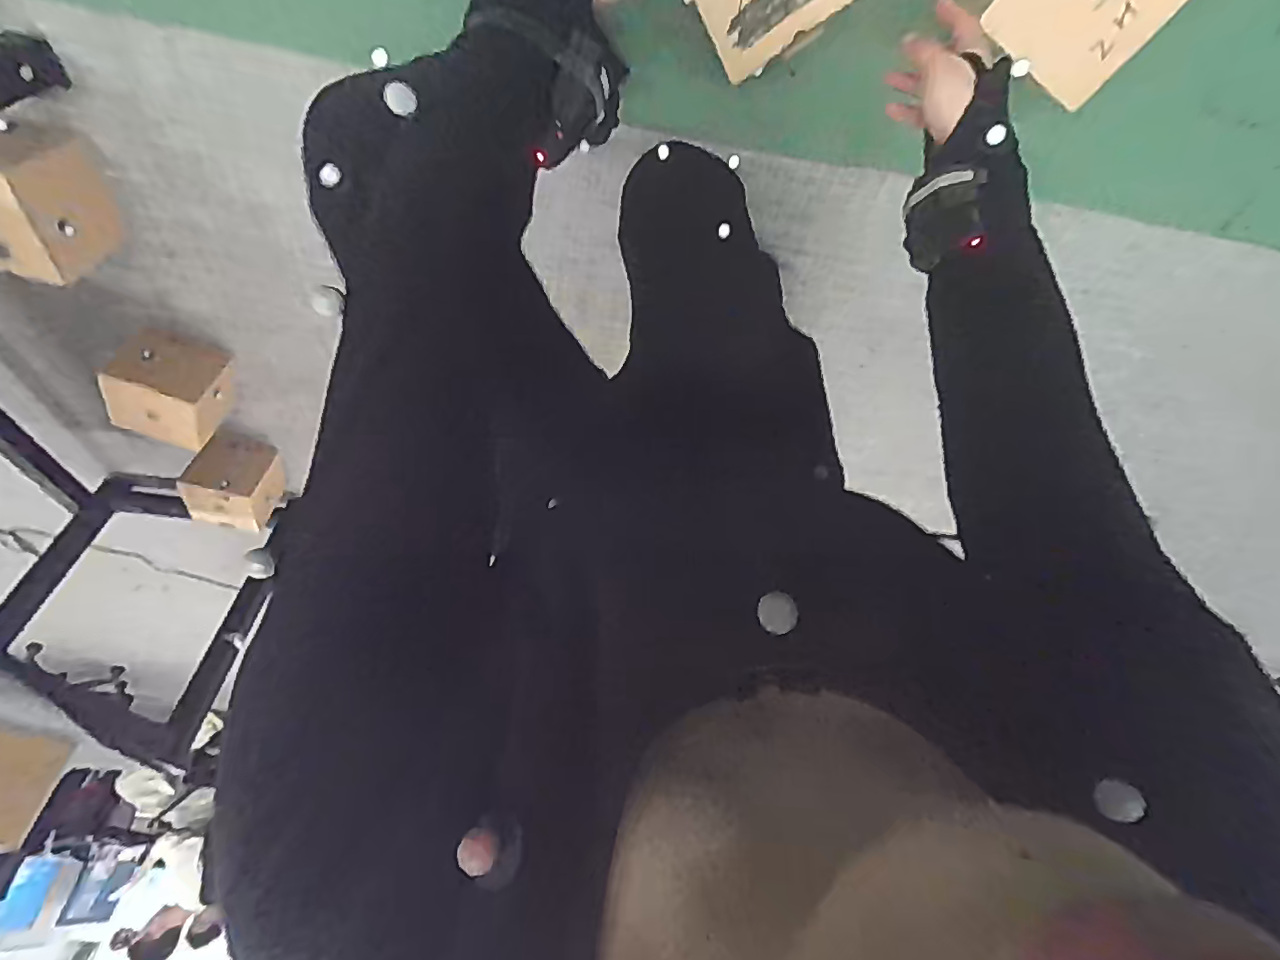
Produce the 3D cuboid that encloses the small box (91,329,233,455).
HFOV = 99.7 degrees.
[{"bbox_3d":[-1.011,-0.189,1.162,0.168,0.176,0.179,22,139,-21],"label":"small box"}]

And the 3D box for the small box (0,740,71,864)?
[{"bbox_3d":[-1.148,0.542,0.920,0.168,0.176,0.179,-21,136,27],"label":"small box"}]

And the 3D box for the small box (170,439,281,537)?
[{"bbox_3d":[-1.080,0.021,1.429,0.168,0.176,0.179,15,141,-15],"label":"small box"}]

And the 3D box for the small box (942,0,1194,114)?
[{"bbox_3d":[0.475,-0.560,0.597,0.179,0.176,0.168,20,139,-21],"label":"small box"}]

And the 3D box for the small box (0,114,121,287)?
[{"bbox_3d":[-0.982,-0.441,0.844,0.168,0.176,0.179,11,140,-10],"label":"small box"}]
